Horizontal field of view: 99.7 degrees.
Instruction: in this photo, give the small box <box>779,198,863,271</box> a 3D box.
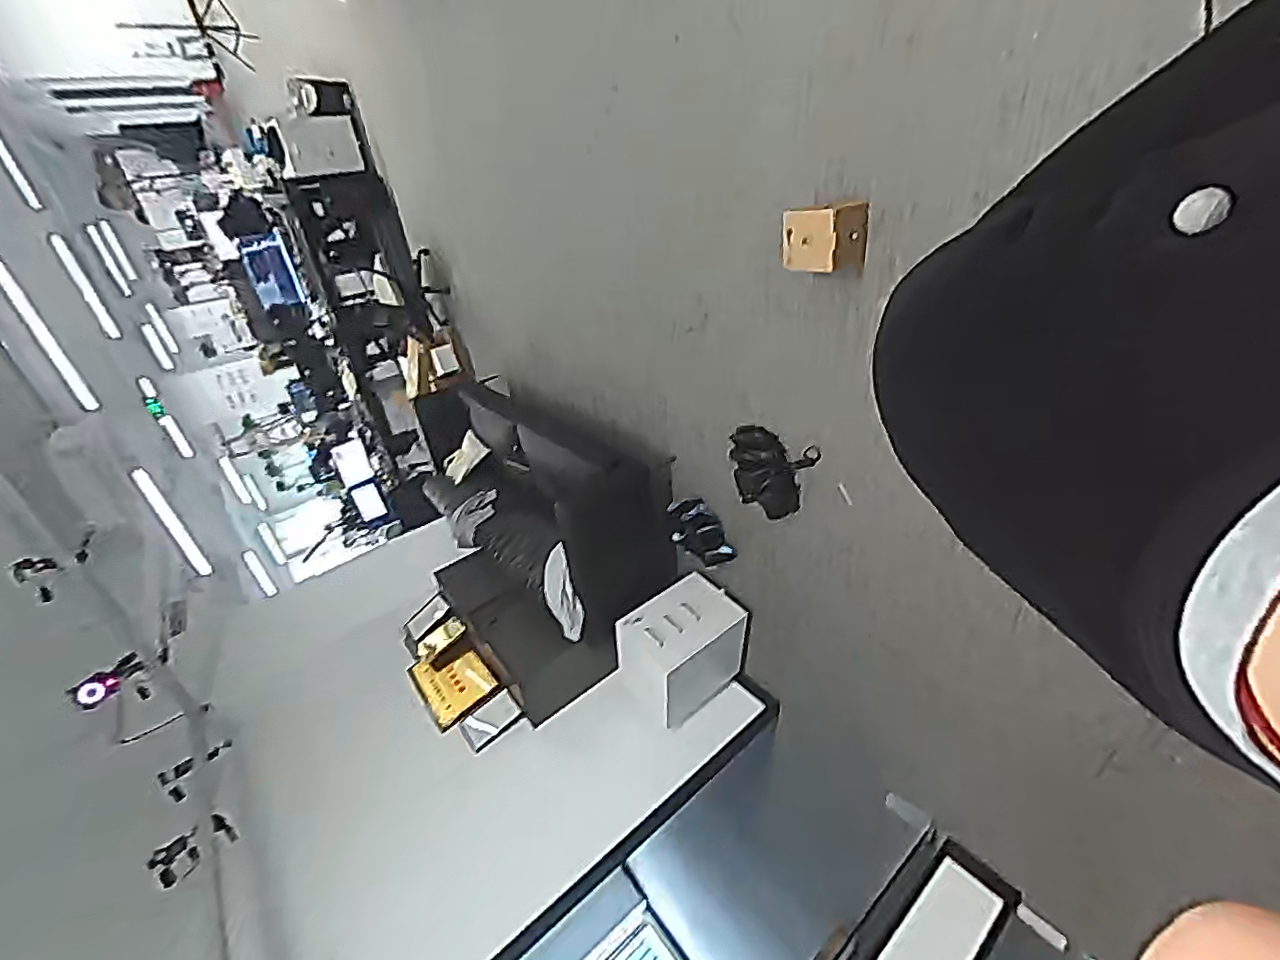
[{"bbox_3d":[0.537,-0.728,1.600,0.179,0.176,0.168,26,137,45],"label":"small box"}]
